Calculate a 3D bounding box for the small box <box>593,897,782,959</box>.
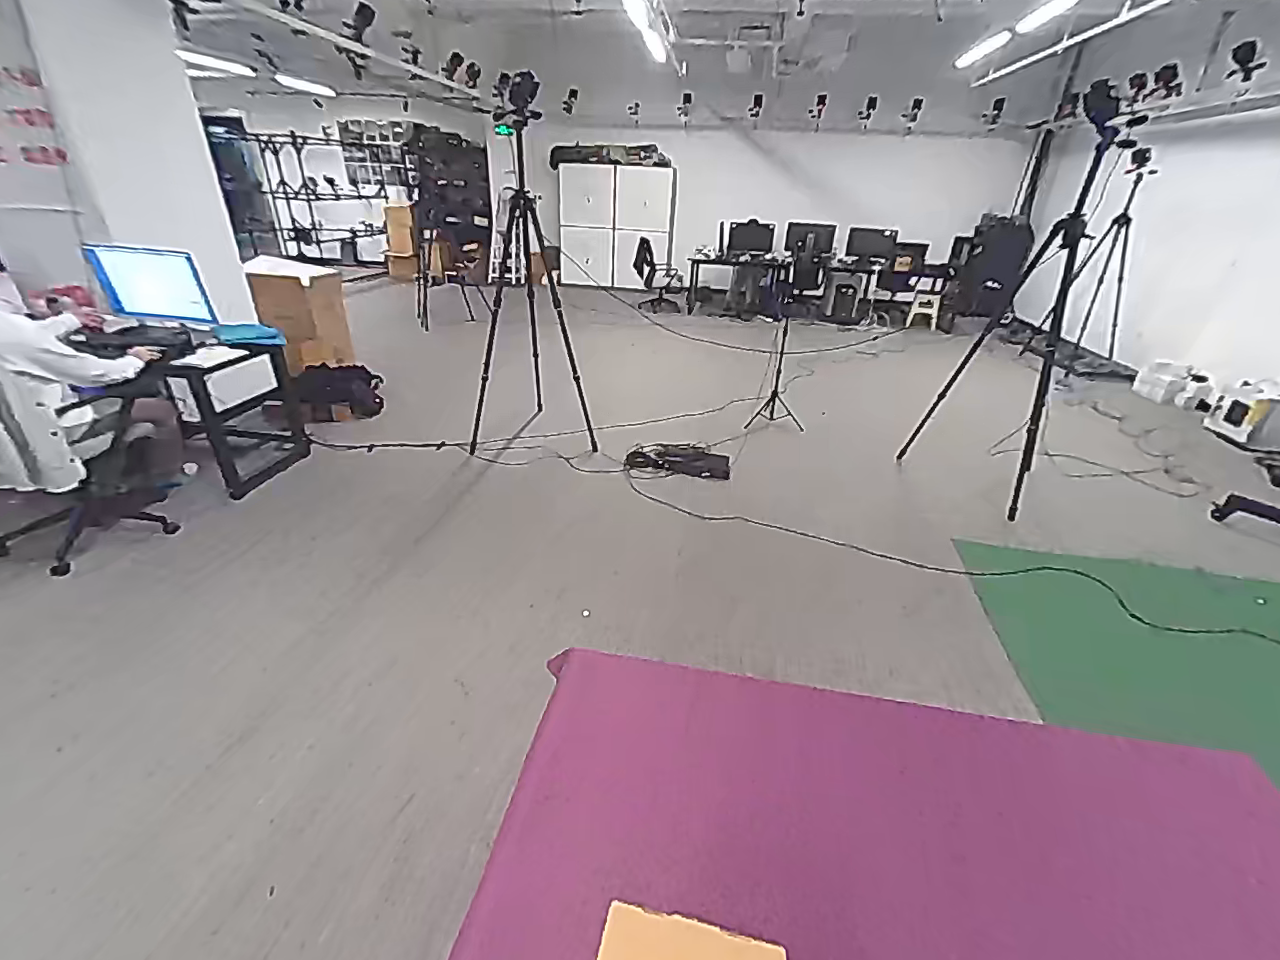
[{"bbox_3d":[0.027,0.512,0.449,0.168,0.176,0.179,7,15,11],"label":"small box"}]
